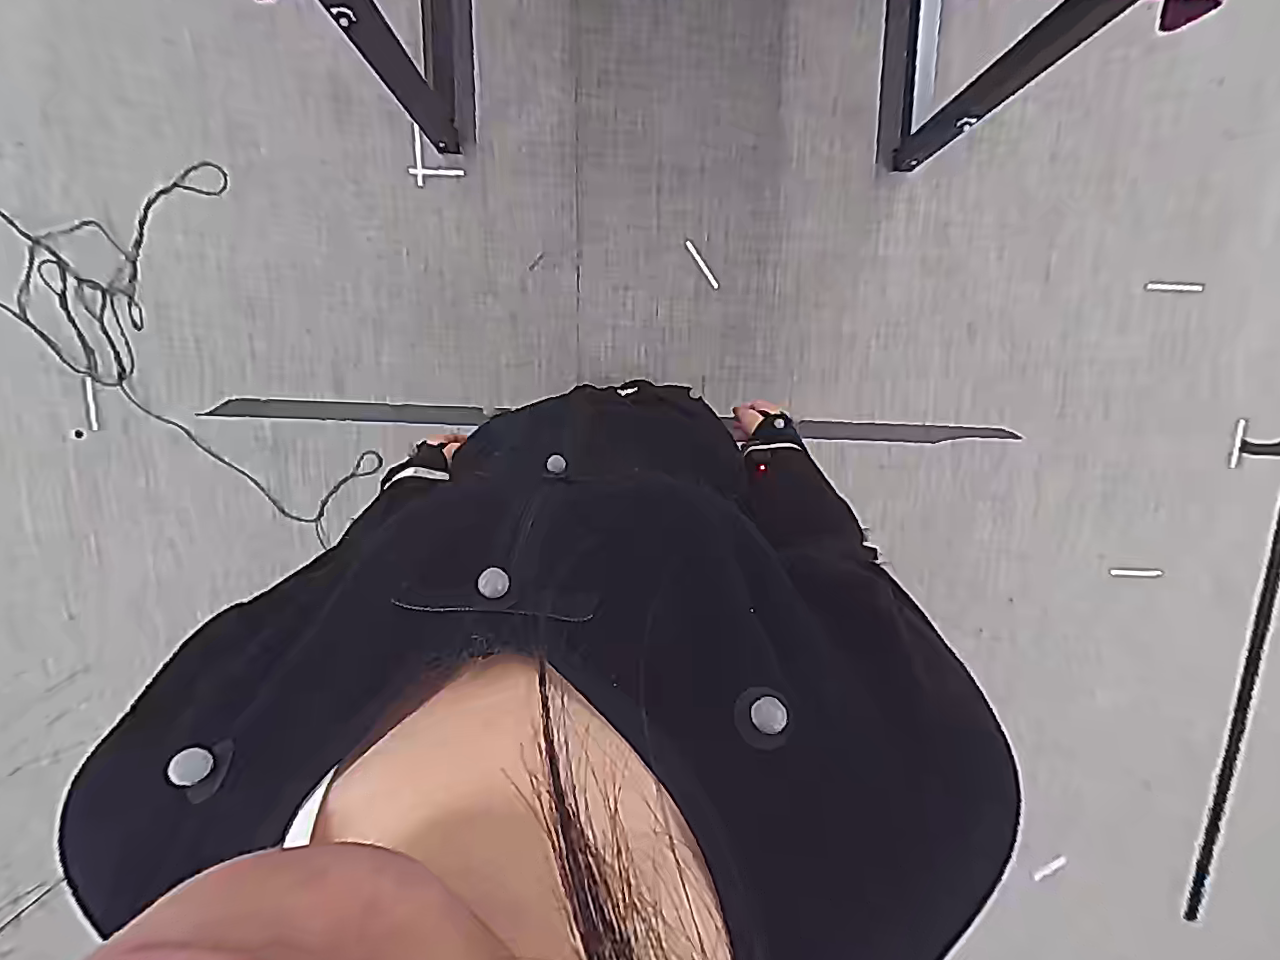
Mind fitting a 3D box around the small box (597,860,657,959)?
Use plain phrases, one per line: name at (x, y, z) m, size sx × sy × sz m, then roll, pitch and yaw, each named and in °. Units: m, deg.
small box at (-0.040, 1.290, 1.630) m, size 0.168 × 0.176 × 0.179 m, roll 4°, pitch 100°, yaw -1°
